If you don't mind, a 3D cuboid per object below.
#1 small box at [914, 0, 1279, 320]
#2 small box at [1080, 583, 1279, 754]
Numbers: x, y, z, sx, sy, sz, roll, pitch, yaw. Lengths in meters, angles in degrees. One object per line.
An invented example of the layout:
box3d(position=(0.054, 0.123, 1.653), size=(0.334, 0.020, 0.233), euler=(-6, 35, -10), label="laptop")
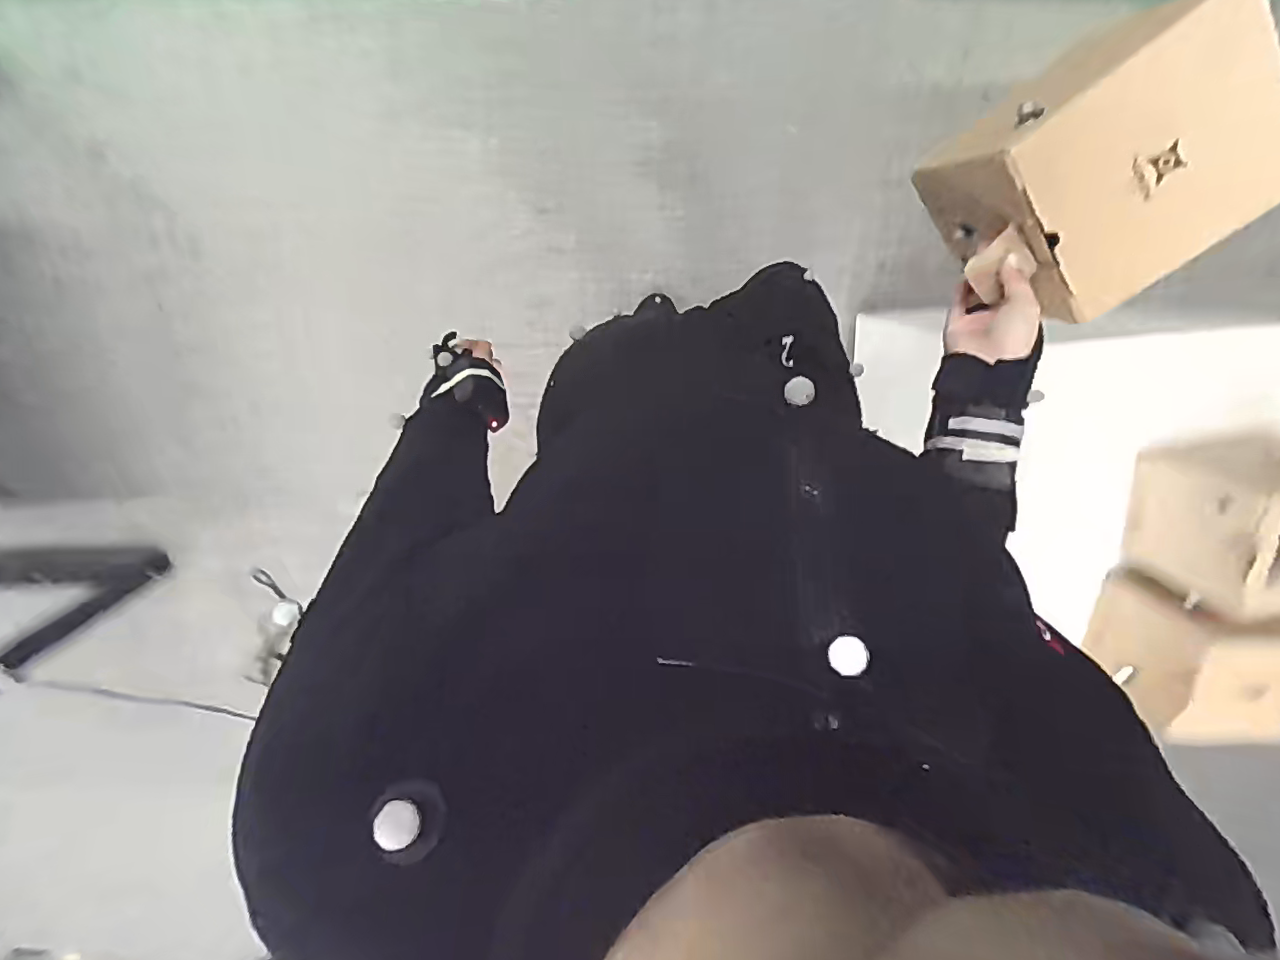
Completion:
box3d(position=(0.389, -0.273, 0.481), size=(0.179, 0.176, 0.168), euler=(-37, 108, 17), label="small box")
box3d(position=(0.788, 0.259, 0.770), size=(0.179, 0.176, 0.168), euler=(0, 112, -1), label="small box")
